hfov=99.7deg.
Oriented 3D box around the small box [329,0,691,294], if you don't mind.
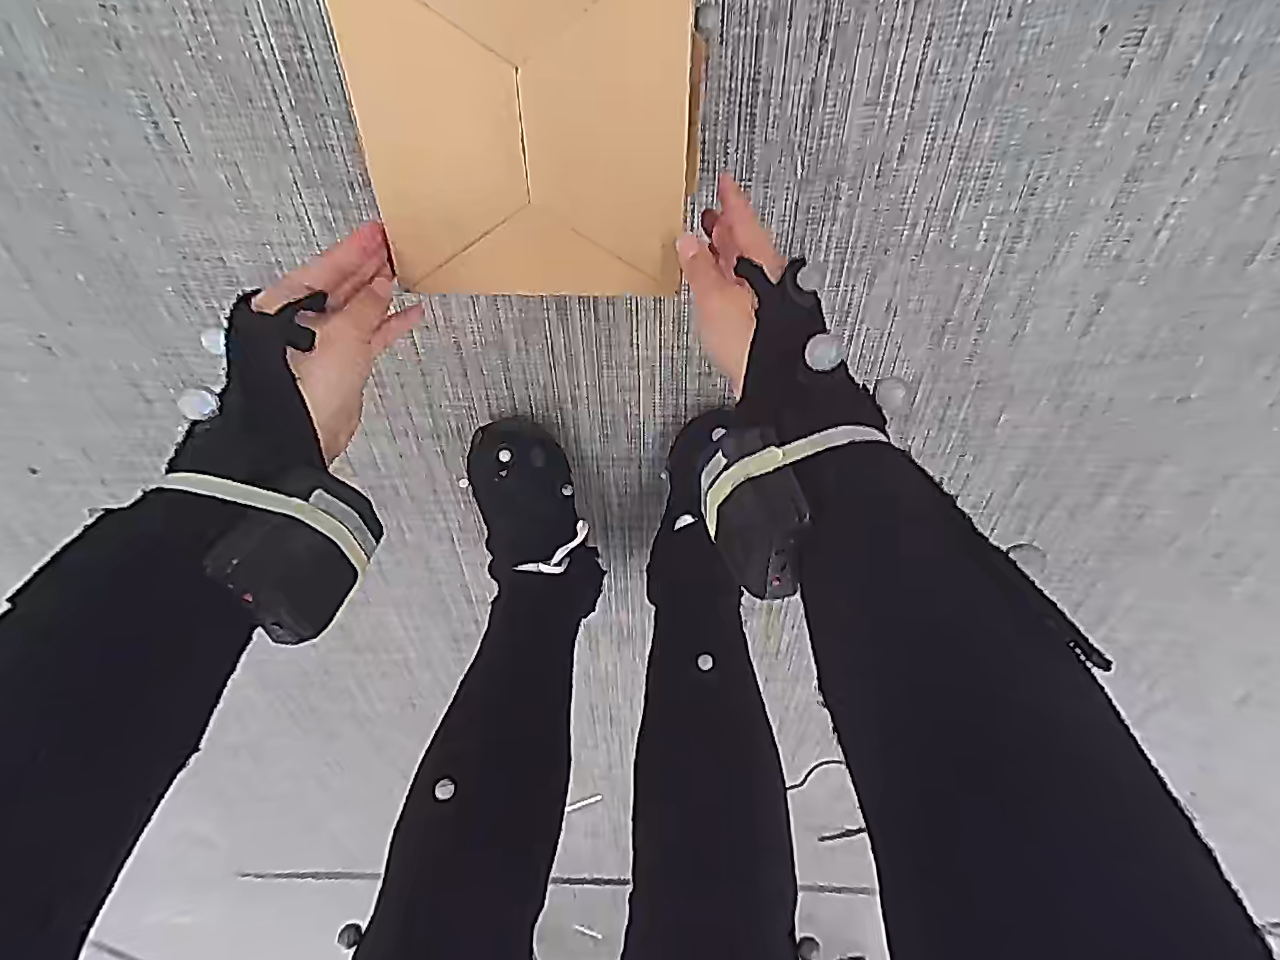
[{"bbox_3d":[-0.058,-0.229,0.354,0.179,0.176,0.168,0,127,0],"label":"small box"}]
